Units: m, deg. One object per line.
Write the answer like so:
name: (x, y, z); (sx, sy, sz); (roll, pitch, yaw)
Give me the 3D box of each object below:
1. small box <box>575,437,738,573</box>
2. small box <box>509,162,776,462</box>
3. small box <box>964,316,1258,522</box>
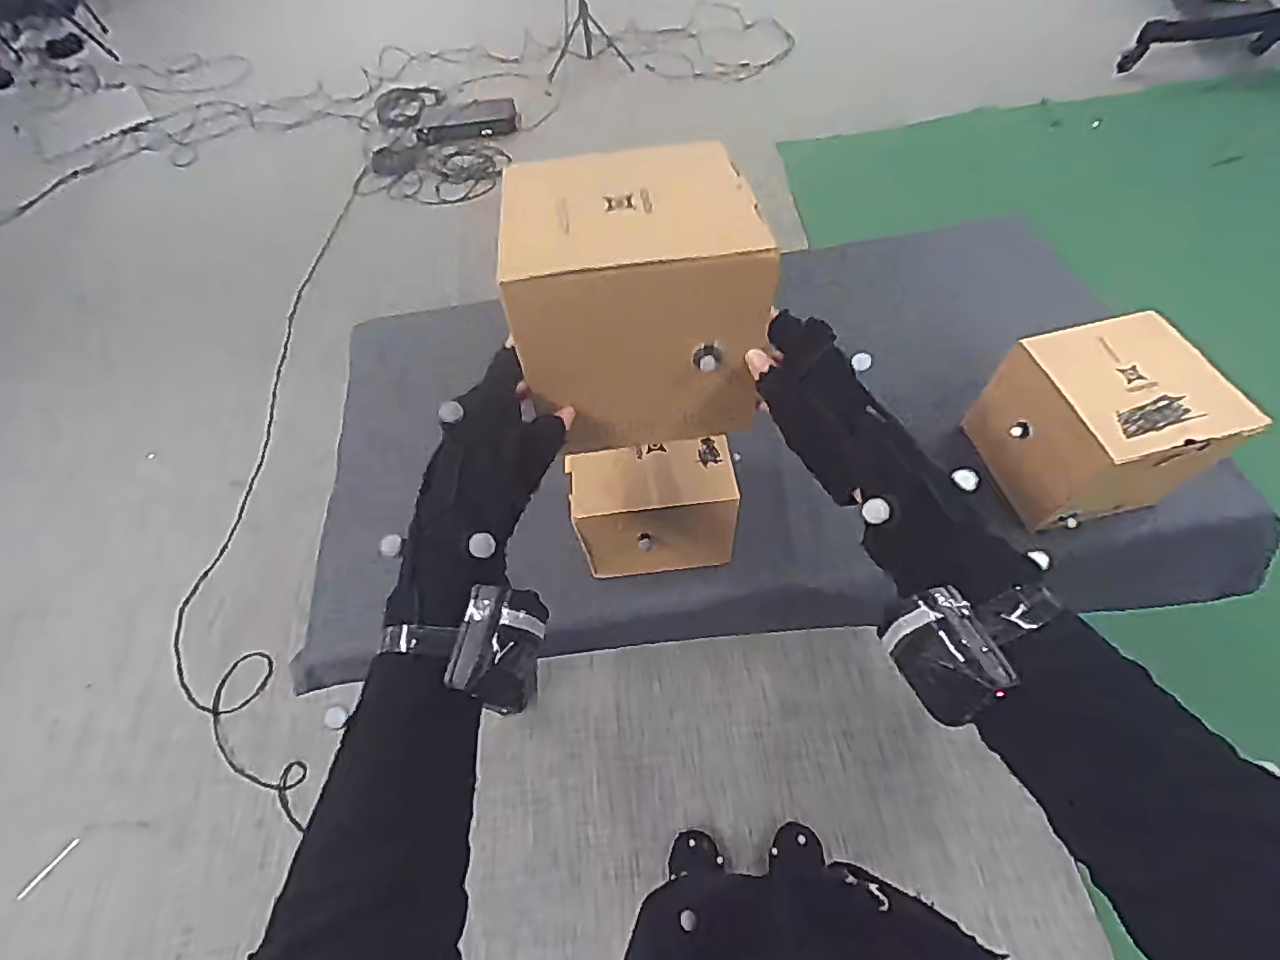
small box: (0.021, 0.006, 0.675); (0.179, 0.176, 0.168); (-7, 58, 2)
small box: (-0.001, -0.136, 0.456); (0.179, 0.176, 0.168); (-9, 51, -1)
small box: (0.541, -0.063, 0.657); (0.168, 0.176, 0.179); (-12, 58, -1)
